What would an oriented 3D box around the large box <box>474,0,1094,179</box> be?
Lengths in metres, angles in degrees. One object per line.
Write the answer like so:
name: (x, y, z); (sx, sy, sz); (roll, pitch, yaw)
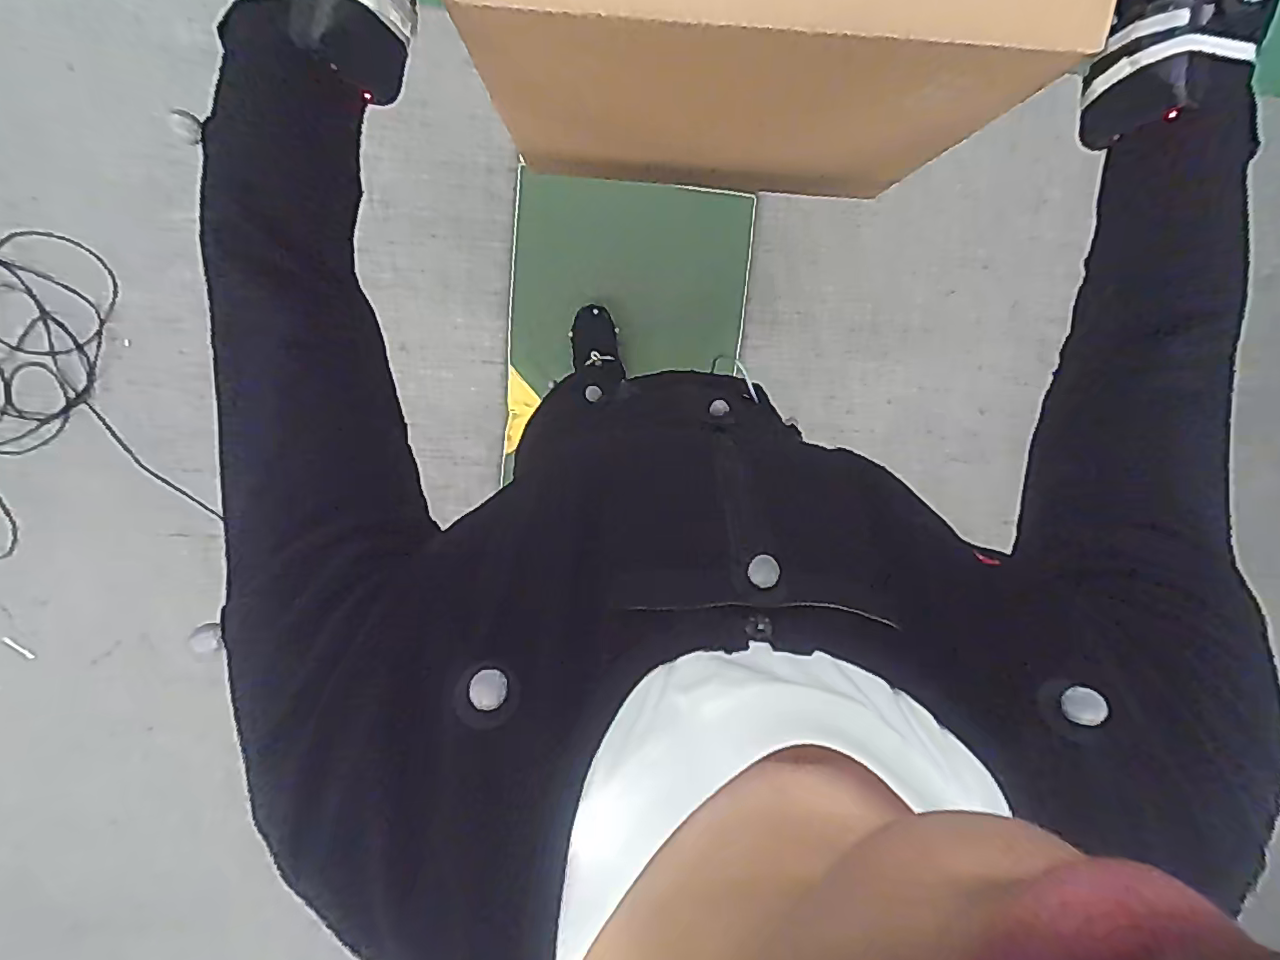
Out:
large box: (0.087, -0.470, 0.448); (0.408, 0.320, 0.320); (2, 104, -3)
